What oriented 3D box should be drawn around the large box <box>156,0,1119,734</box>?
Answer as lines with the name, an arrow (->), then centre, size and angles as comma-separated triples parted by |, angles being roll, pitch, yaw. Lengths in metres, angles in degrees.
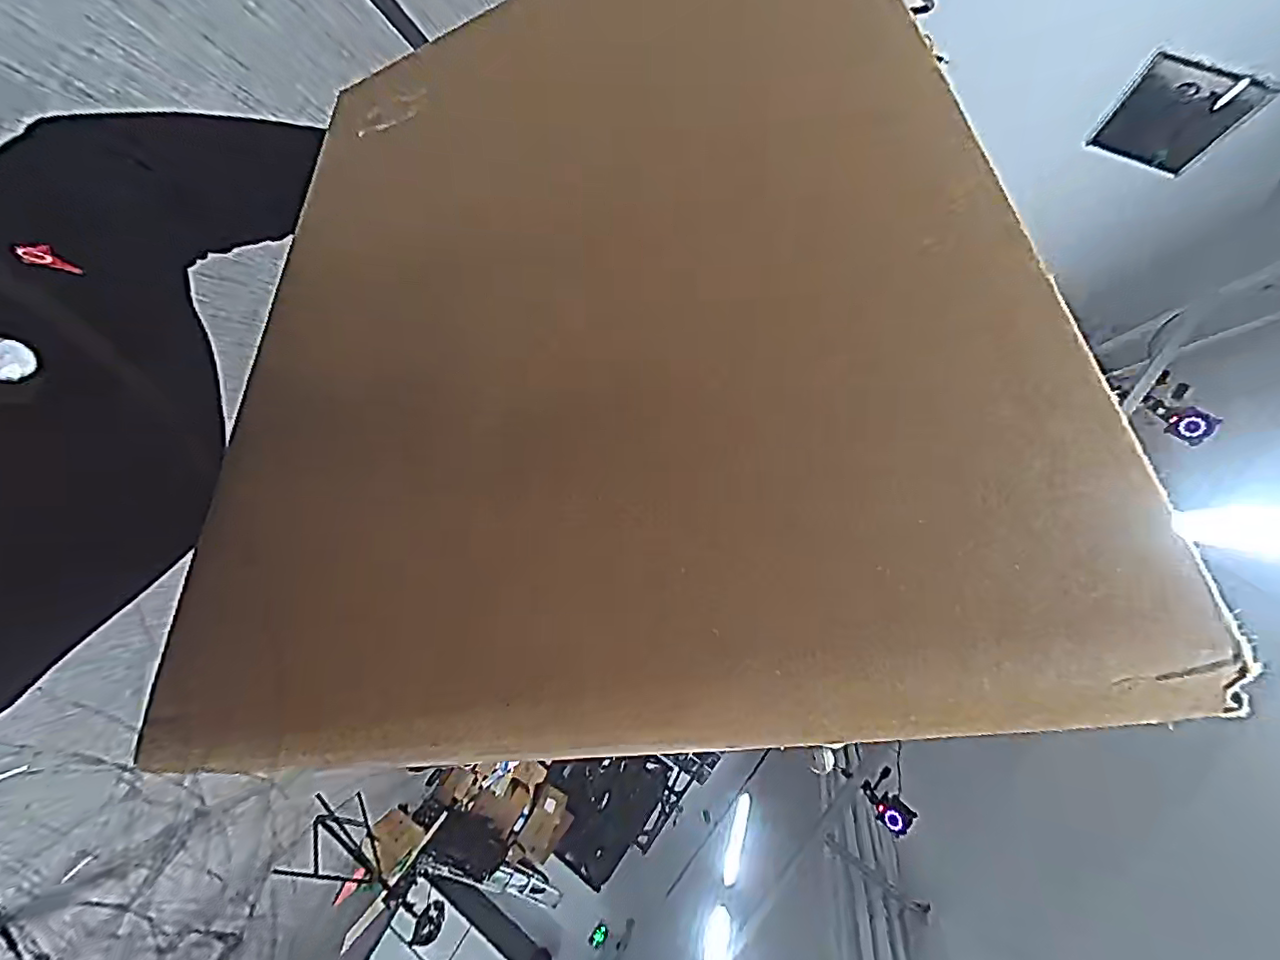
large box -> 0.008, -0.057, 0.364 | 0.320, 0.320, 0.408 | 50, 33, -59
